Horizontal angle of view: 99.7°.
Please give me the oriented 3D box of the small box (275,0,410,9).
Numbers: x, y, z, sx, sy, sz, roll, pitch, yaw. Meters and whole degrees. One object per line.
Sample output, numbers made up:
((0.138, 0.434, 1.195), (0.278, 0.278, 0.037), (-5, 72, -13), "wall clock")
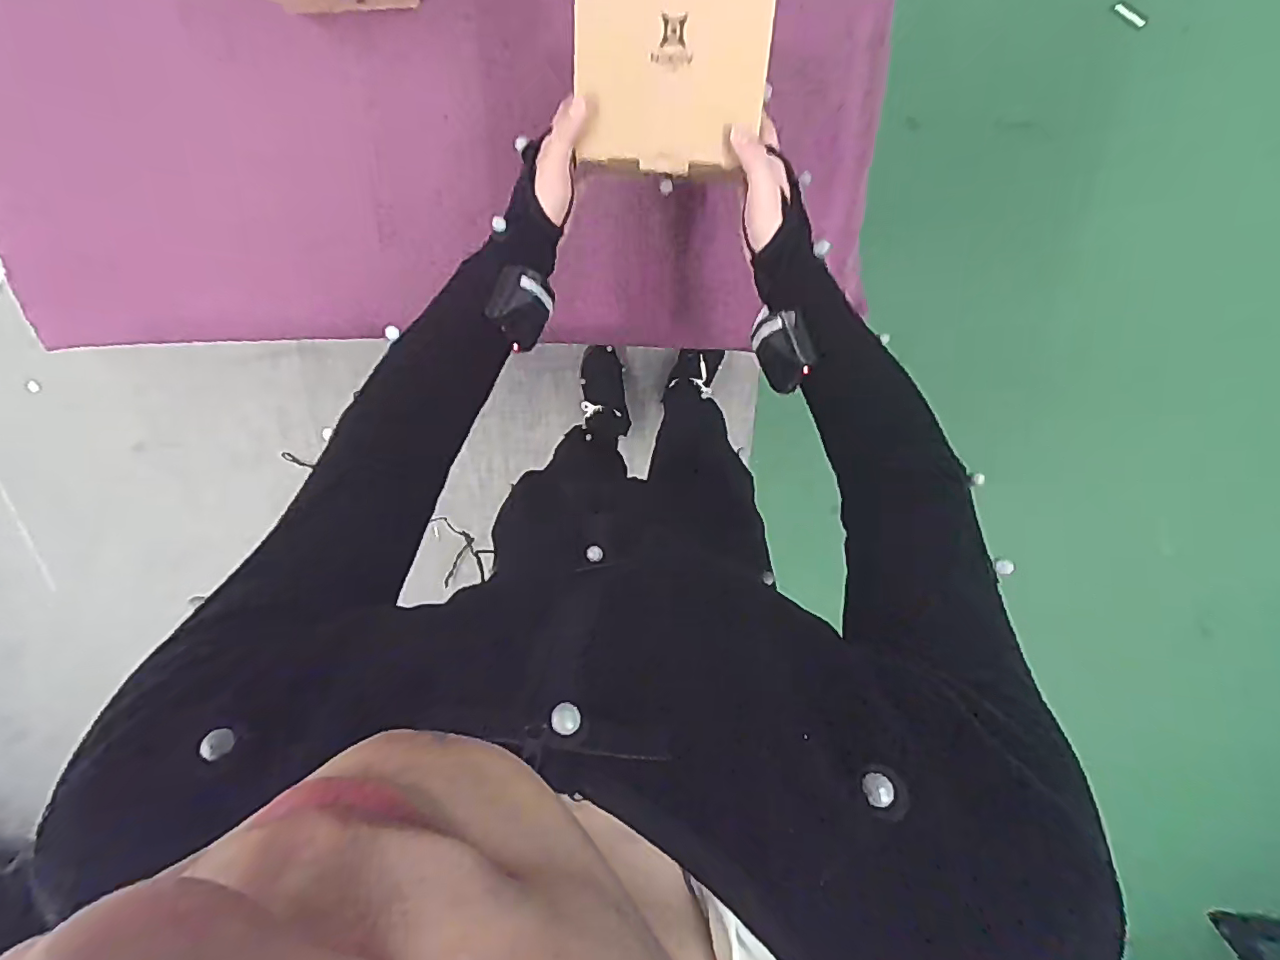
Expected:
((-0.349, -0.601, 0.535), (0.168, 0.176, 0.179), (1, 114, 4), "small box")

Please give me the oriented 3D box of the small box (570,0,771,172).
((0.030, -0.403, 0.518), (0.168, 0.176, 0.179), (5, 115, 3), "small box")
